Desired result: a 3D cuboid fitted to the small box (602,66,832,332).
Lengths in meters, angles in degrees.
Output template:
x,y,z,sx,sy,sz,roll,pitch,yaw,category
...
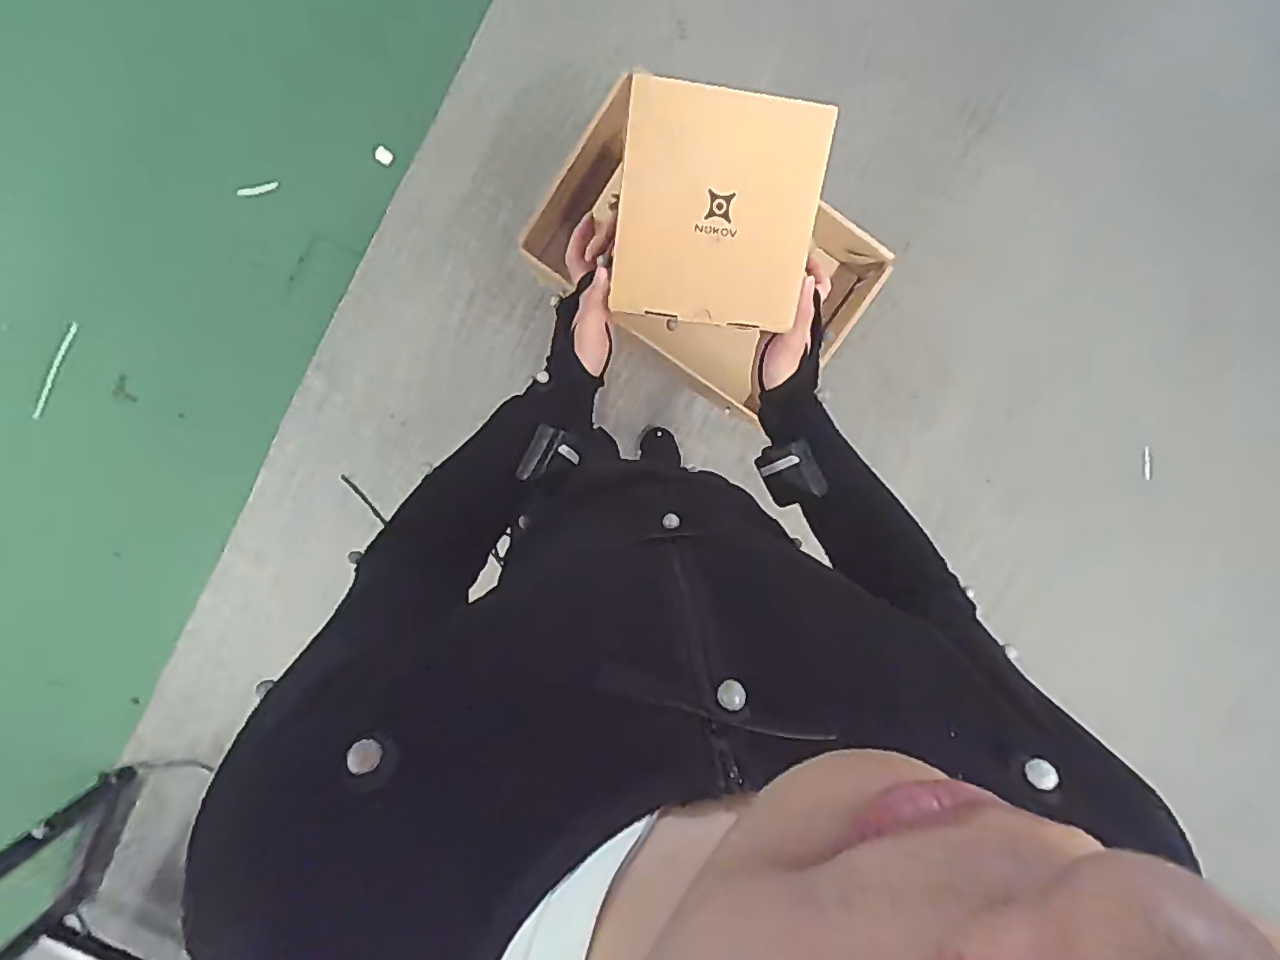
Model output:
x,y,z,sx,sy,sz,roll,pitch,yaw,category
0.053,-0.243,0.509,0.168,0.176,0.179,5,109,-5,small box
